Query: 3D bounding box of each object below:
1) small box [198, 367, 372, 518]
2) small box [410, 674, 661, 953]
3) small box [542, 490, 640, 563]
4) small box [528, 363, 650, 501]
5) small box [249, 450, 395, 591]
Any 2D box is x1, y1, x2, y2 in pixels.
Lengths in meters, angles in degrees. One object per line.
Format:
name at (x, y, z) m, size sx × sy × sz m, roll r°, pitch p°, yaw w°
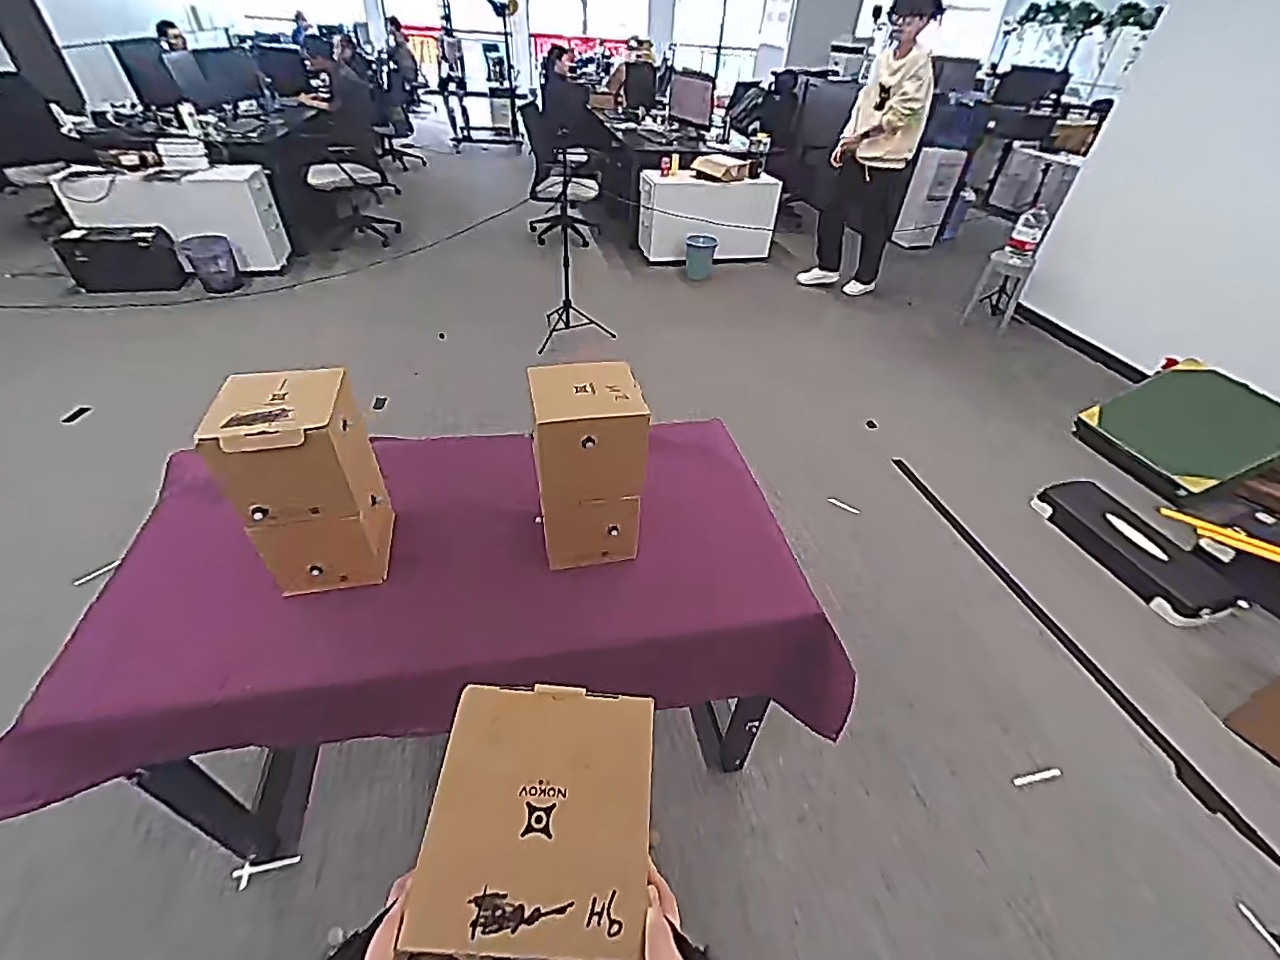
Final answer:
small box at (-0.533, -0.055, 0.845) m, size 0.168 × 0.176 × 0.179 m, roll -7°, pitch 42°, yaw -14°
small box at (-0.074, 0.294, 0.475) m, size 0.168 × 0.176 × 0.179 m, roll 5°, pitch 49°, yaw 0°
small box at (-0.099, 0.042, 1.022) m, size 0.168 × 0.176 × 0.179 m, roll -5°, pitch 41°, yaw -12°
small box at (-0.089, -0.080, 0.913) m, size 0.179 × 0.176 × 0.168 m, roll -6°, pitch 43°, yaw -13°
small box at (-0.542, 0.069, 0.952) m, size 0.168 × 0.176 × 0.179 m, roll -6°, pitch 43°, yaw -12°
